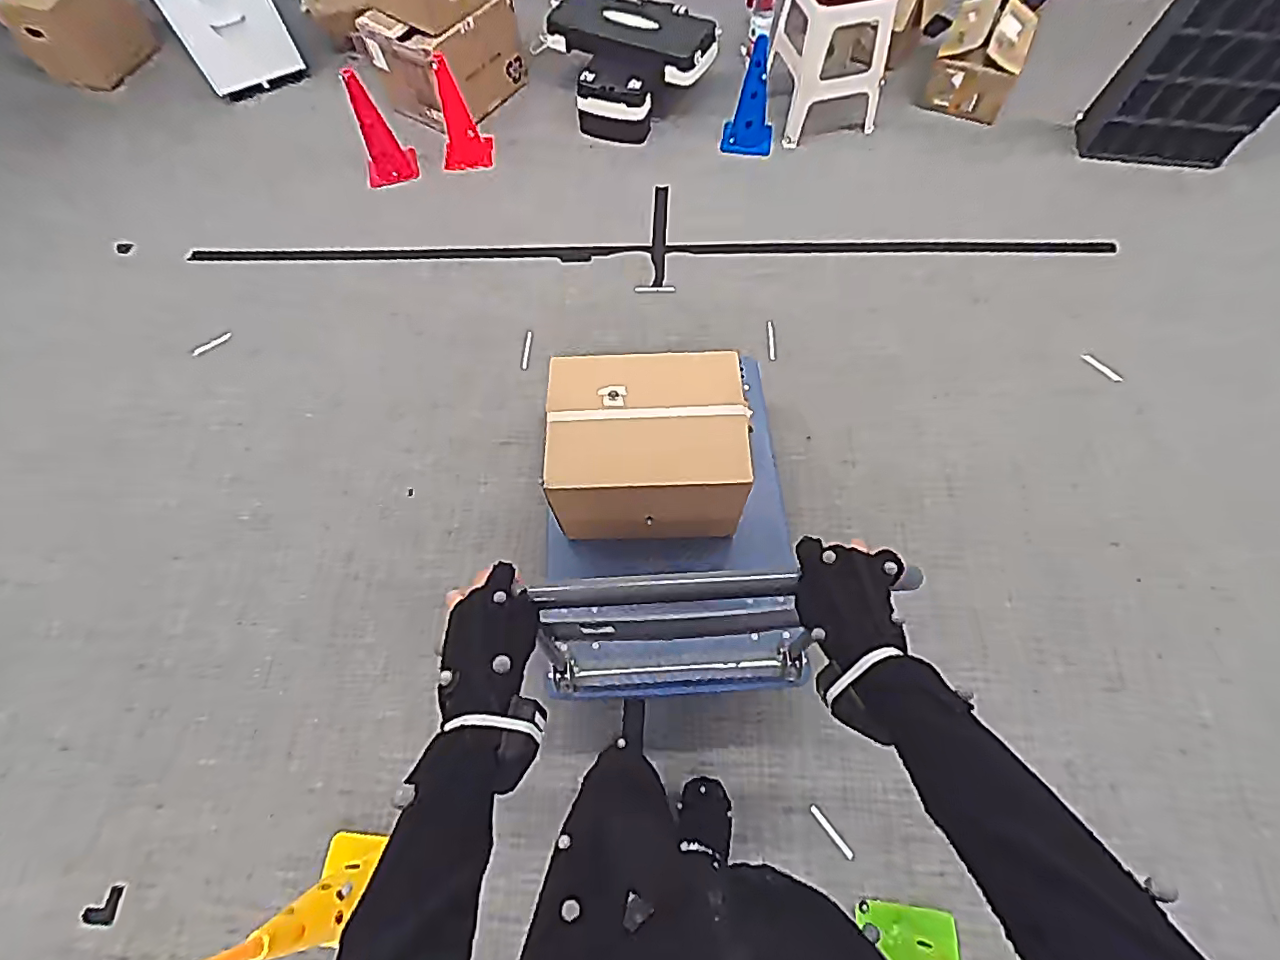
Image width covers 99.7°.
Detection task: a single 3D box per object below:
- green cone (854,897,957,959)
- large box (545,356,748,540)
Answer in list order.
[{"bbox_3d":[0.532,0.895,0.928,0.202,0.368,0.200,5,65,4],"label":"green cone"},{"bbox_3d":[0.016,-0.058,1.243,0.408,0.320,0.320,-2,65,2],"label":"large box"}]
